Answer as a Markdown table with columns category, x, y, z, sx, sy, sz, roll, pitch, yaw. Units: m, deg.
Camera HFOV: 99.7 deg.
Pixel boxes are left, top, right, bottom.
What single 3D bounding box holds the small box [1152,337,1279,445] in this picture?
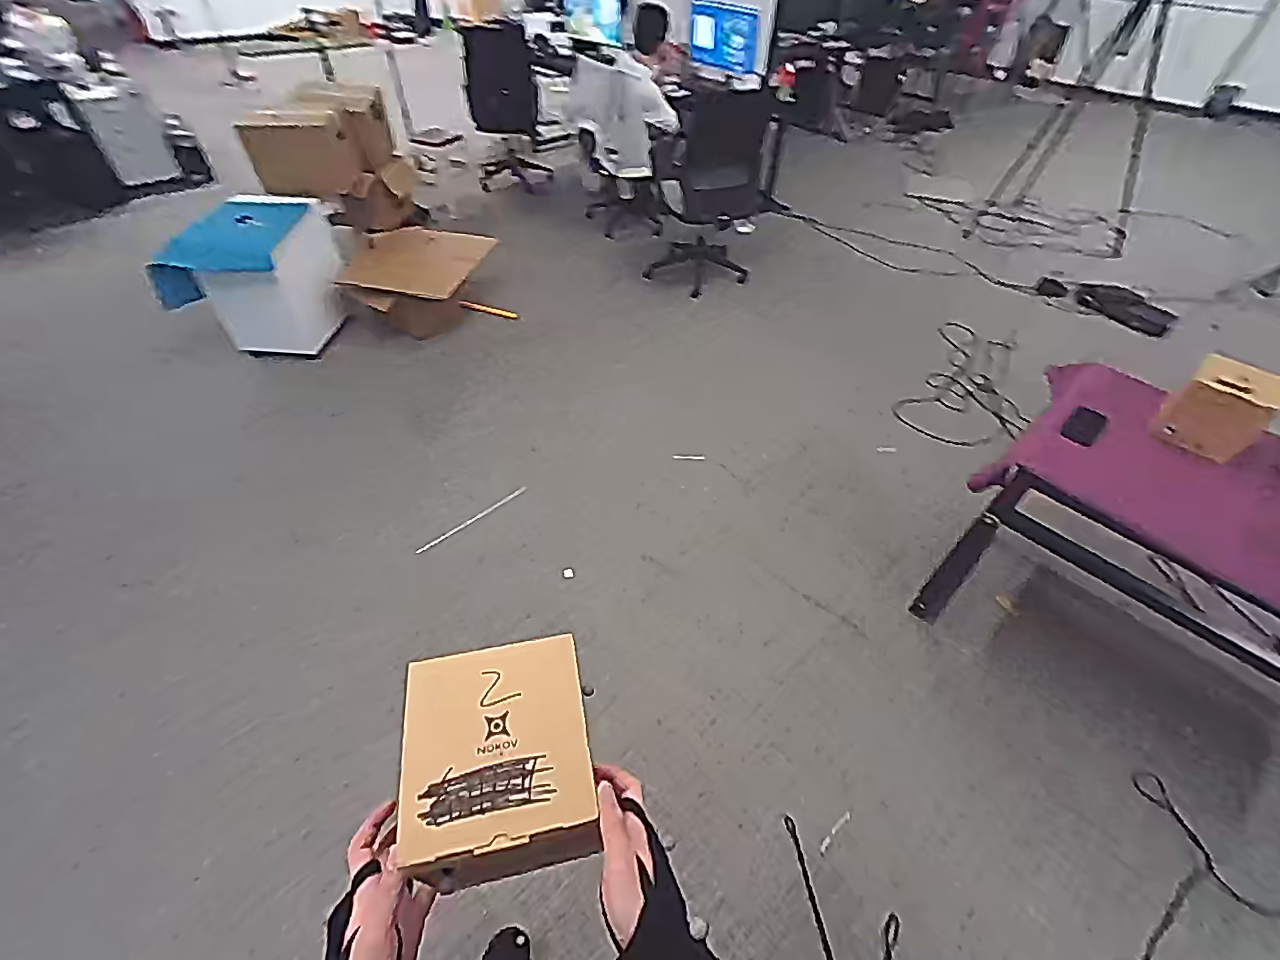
| category | x | y | z | sx | sy | sz | roll | pitch | yaw |
| --- | --- | --- | --- | --- | --- | --- | --- | --- | --- |
| small box | 1.411 | -0.214 | 1.317 | 0.179 | 0.176 | 0.168 | -35 | 56 | -29 |
